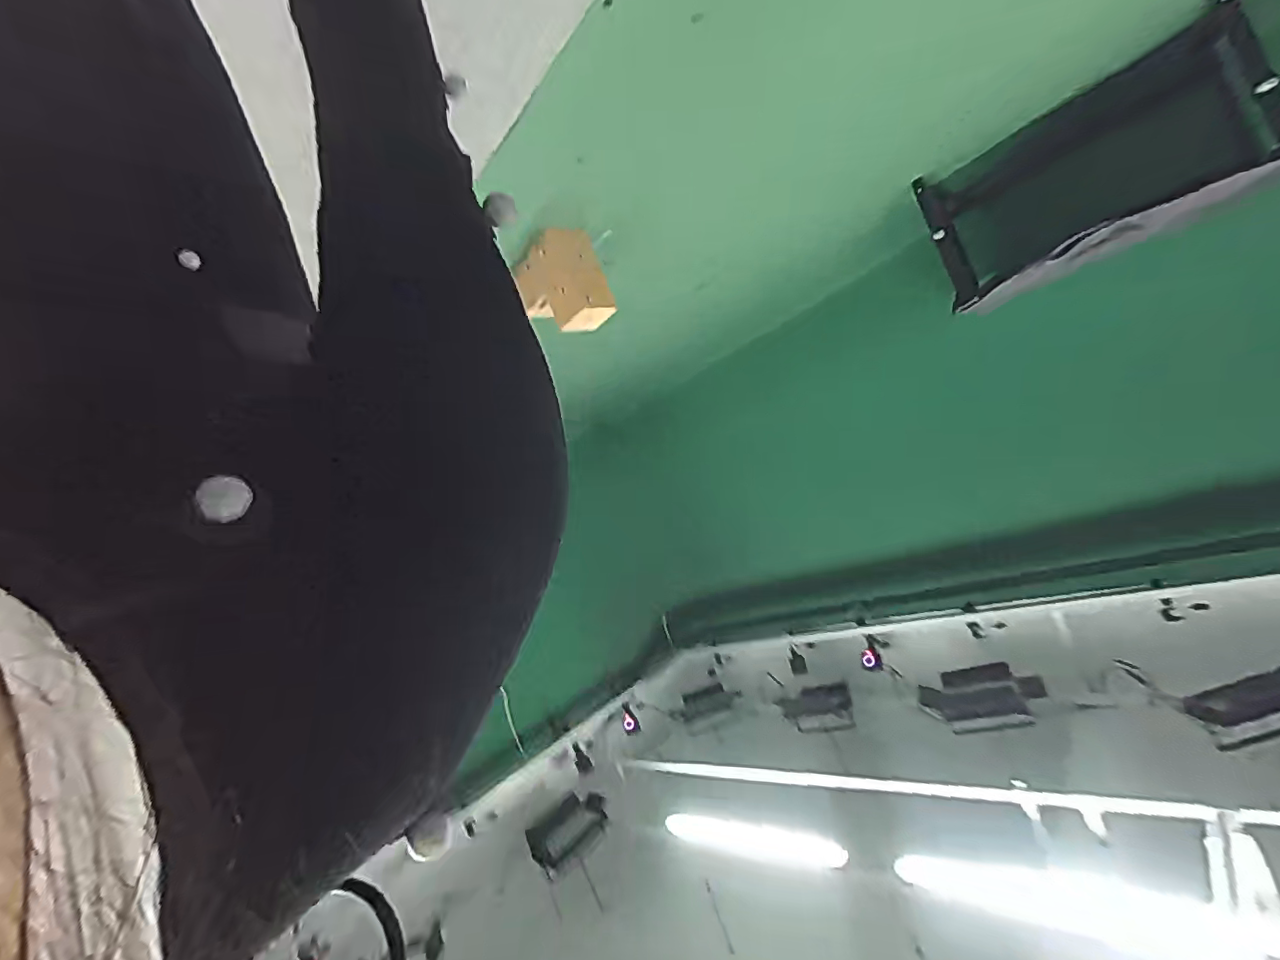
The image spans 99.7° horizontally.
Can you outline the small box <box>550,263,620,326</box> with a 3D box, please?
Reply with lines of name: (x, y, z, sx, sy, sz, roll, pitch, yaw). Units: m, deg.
small box: (-0.212, -0.704, 2.051, 0.179, 0.176, 0.168, -18, 175, -42)
